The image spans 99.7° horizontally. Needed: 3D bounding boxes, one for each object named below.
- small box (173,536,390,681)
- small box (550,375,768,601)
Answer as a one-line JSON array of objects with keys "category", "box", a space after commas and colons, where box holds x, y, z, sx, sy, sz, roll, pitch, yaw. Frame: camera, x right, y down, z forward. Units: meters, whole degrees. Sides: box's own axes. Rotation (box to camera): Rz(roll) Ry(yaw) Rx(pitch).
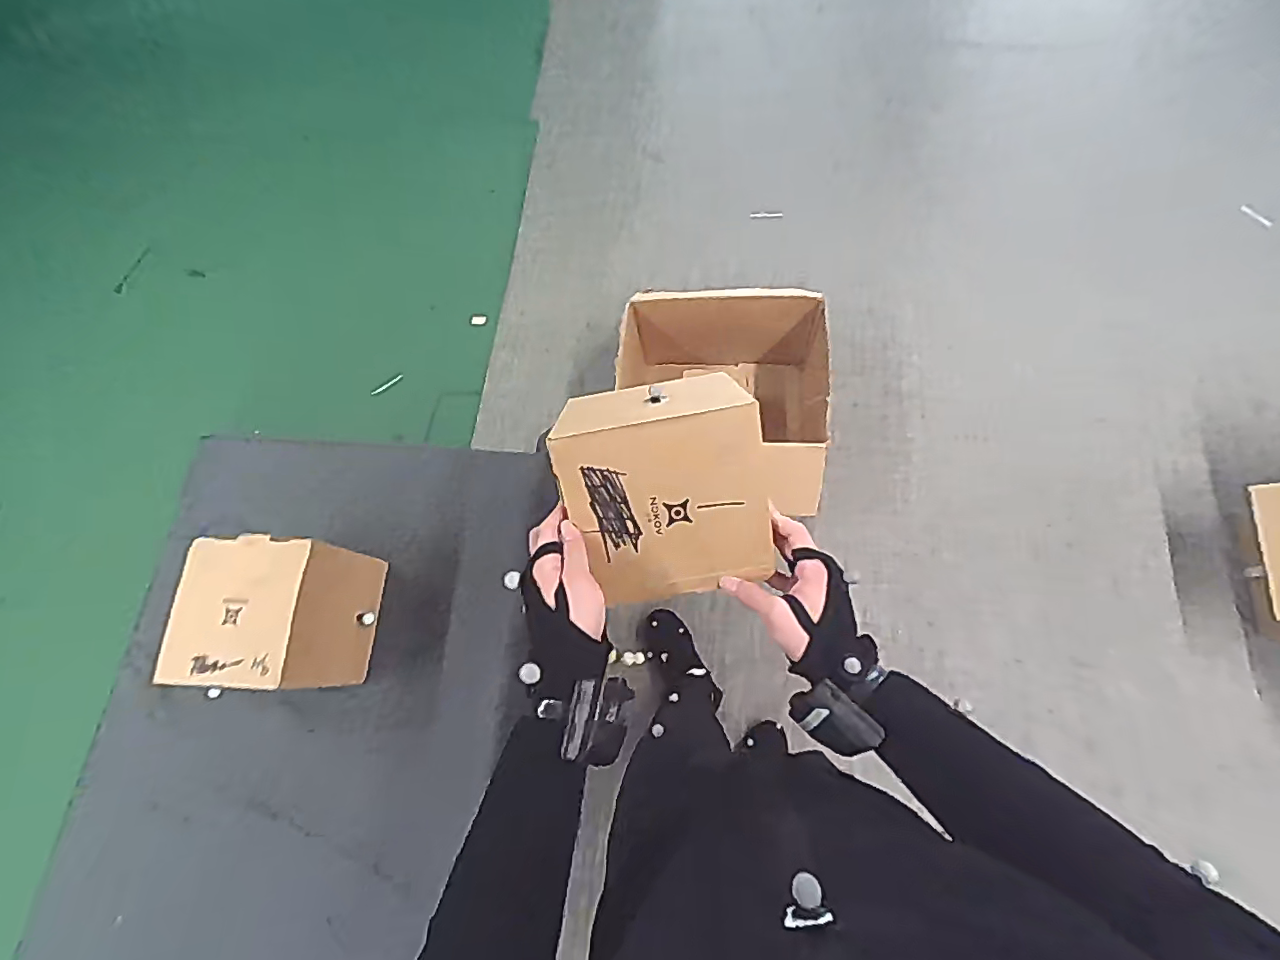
[{"category": "small box", "box": [-0.471, 0.181, 0.744, 0.168, 0.176, 0.179, -2, 72, 6]}, {"category": "small box", "box": [0.021, -0.002, 0.536, 0.179, 0.176, 0.168, -7, 111, 2]}]
